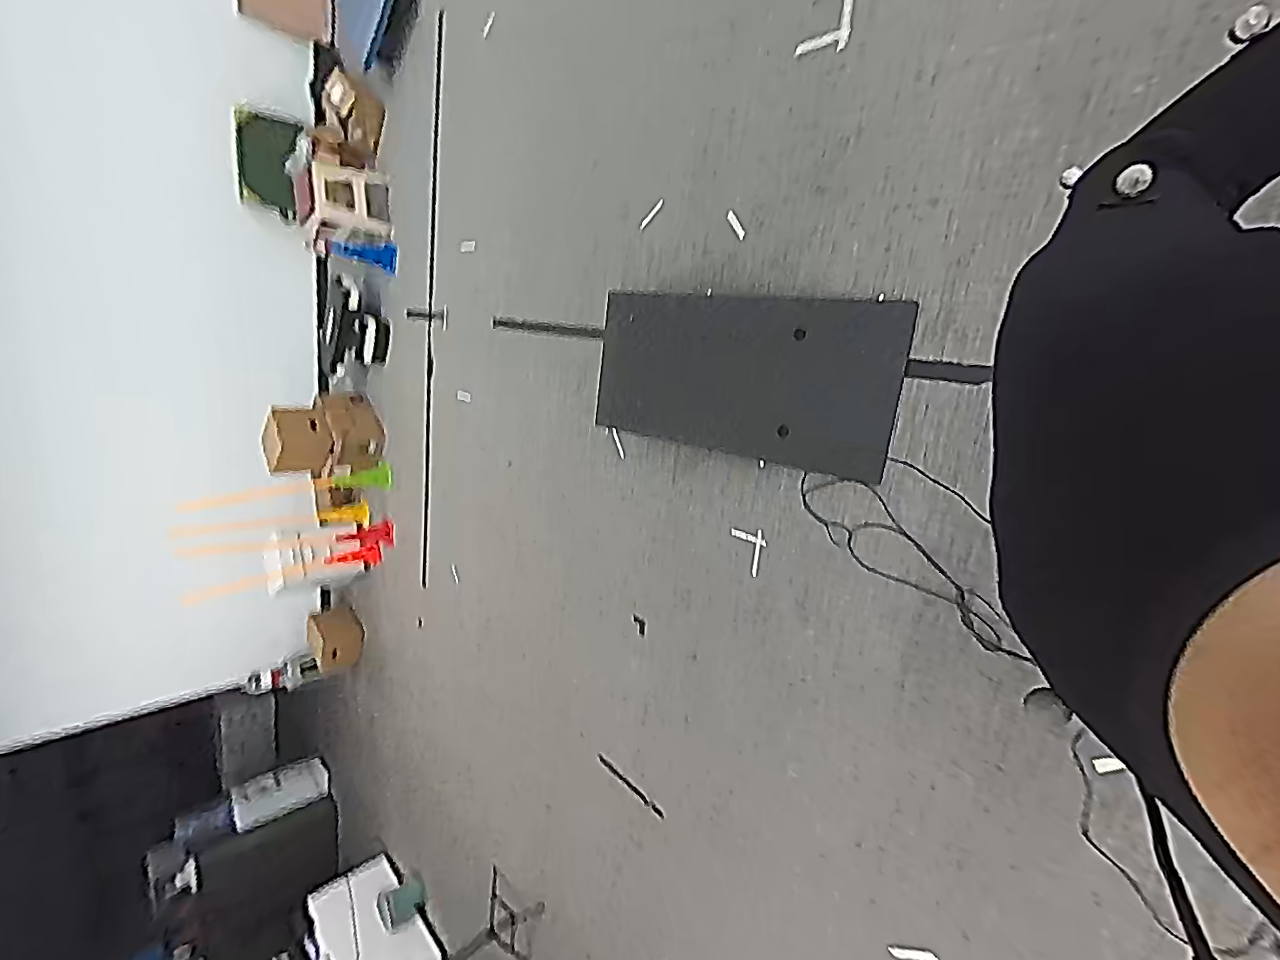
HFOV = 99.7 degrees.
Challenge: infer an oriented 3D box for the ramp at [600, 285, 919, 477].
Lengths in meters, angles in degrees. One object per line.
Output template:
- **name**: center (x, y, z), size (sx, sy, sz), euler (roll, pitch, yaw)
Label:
- **ramp**: center (0.290, -0.350, 1.705), size (0.991, 0.206, 0.509), euler (16, 104, 42)
